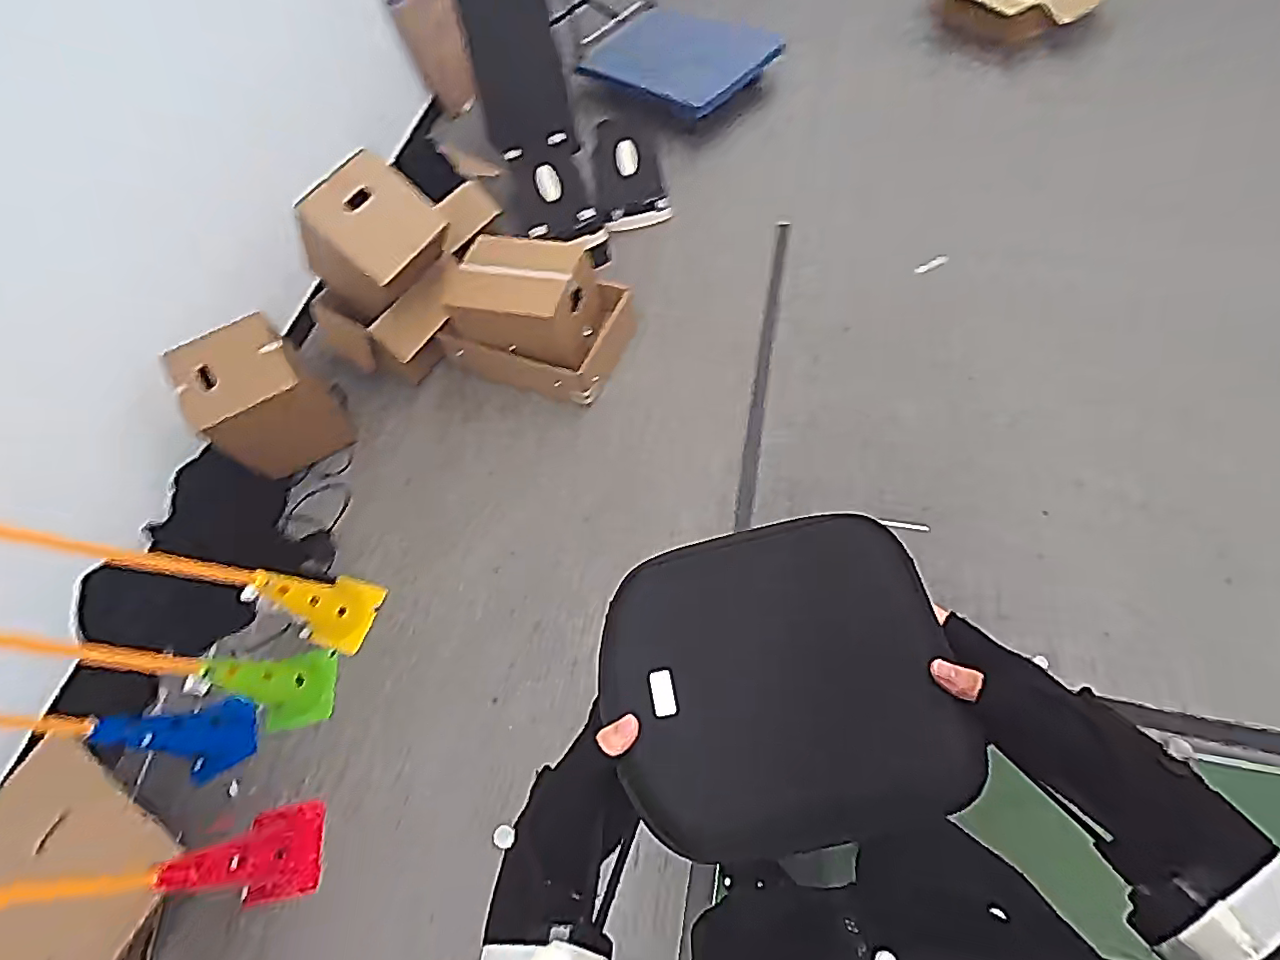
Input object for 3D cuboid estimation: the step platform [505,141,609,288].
[{"bbox_3d":[-0.357,-1.125,2.254,0.286,0.204,0.684,-20,61,0],"label":"step platform"}]
